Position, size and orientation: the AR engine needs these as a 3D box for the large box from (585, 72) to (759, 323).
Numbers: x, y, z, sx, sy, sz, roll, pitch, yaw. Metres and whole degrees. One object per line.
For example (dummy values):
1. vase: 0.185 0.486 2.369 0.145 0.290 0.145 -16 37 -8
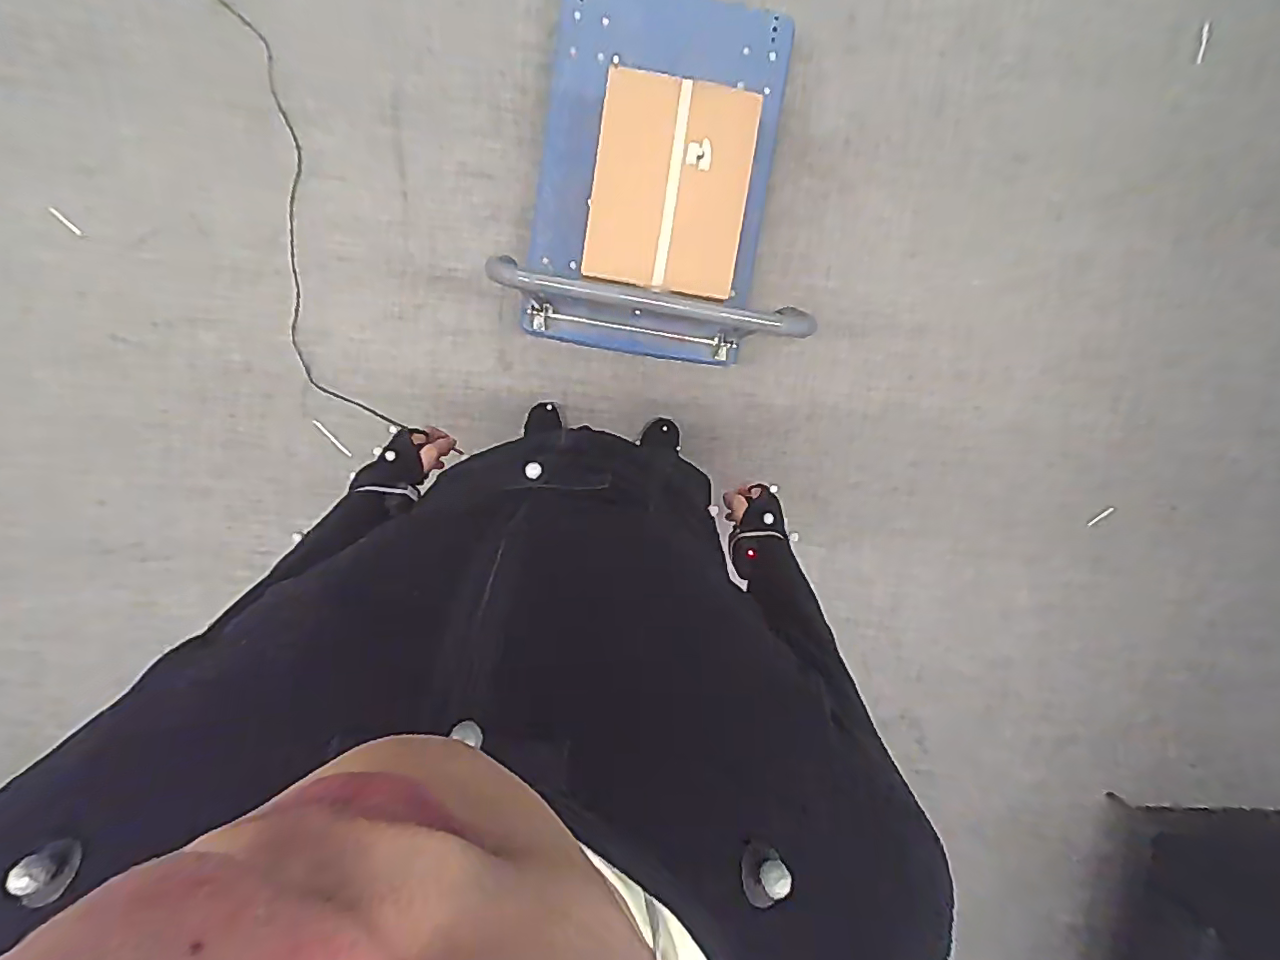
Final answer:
1. large box: 0.055 -0.605 1.240 0.320 0.320 0.408 8 96 -5
